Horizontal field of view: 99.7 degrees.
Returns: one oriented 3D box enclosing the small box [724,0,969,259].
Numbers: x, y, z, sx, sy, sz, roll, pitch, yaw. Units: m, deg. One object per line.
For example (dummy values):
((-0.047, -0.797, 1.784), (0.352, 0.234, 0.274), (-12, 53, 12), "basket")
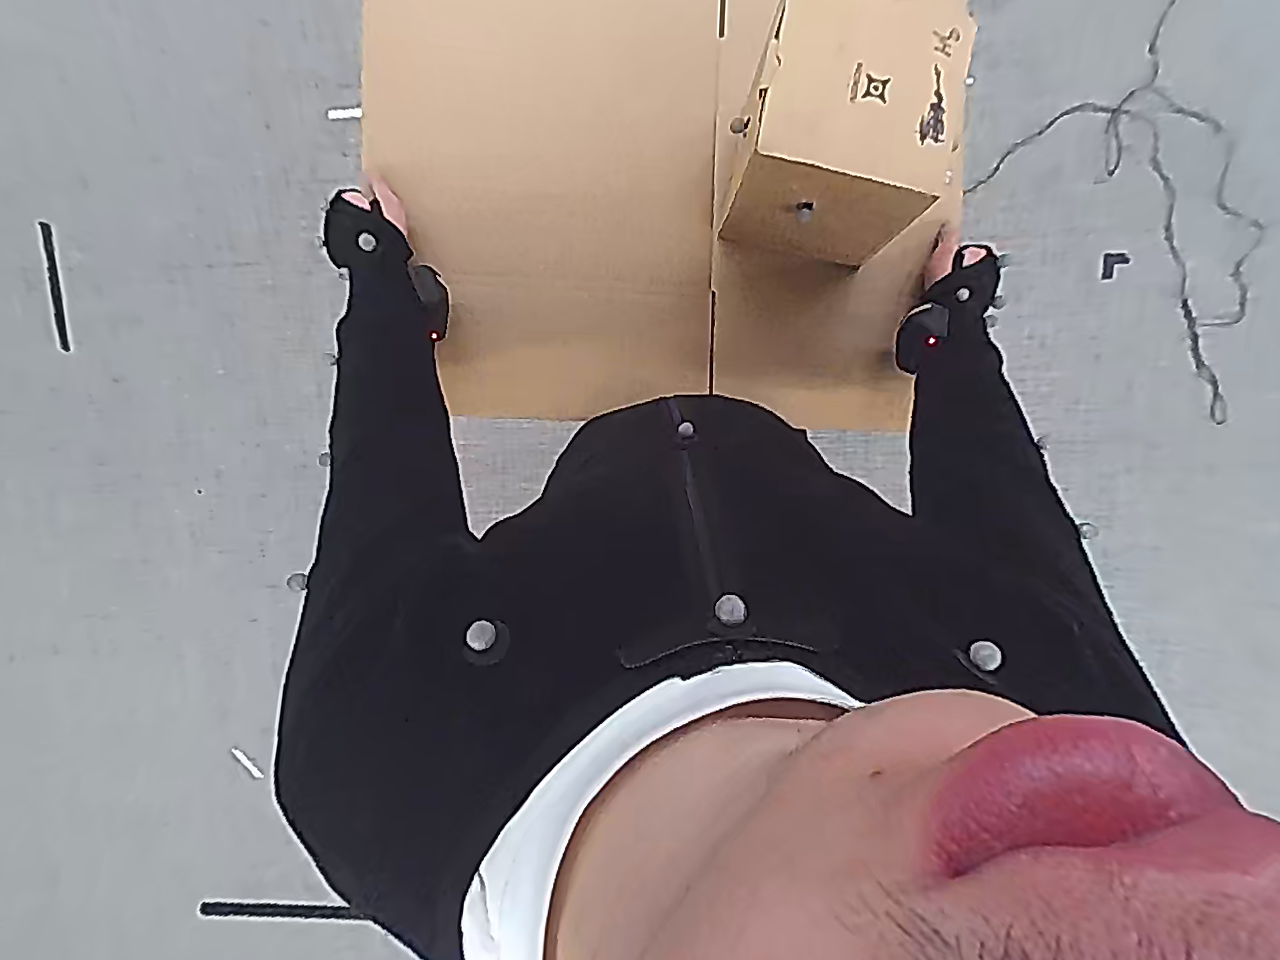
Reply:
((0.196, -0.355, 0.566), (0.179, 0.176, 0.168), (12, 90, -1), "small box")
